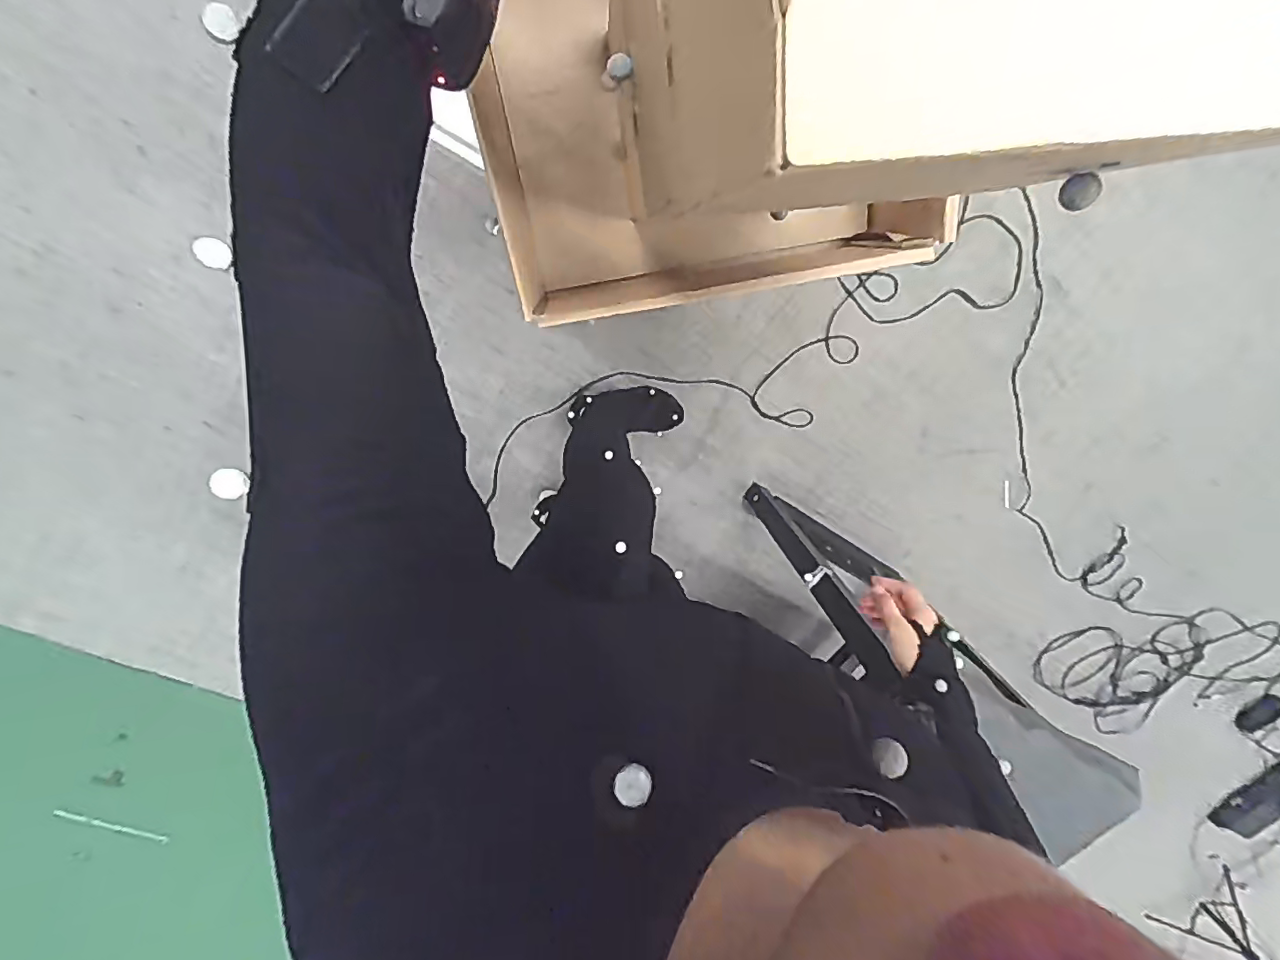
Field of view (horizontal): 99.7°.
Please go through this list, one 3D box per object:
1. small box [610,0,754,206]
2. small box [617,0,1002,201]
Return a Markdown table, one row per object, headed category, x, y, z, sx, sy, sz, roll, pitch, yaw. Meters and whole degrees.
| category | x | y | z | sx | sy | sz | roll | pitch | yaw |
| --- | --- | --- | --- | --- | --- | --- | --- | --- | --- |
| small box | 0.068 | -0.347 | 0.475 | 0.179 | 0.176 | 0.168 | -9 | 113 | -2 |
| small box | 0.083 | -0.276 | 0.328 | 0.179 | 0.176 | 0.168 | -9 | 113 | -1 |
